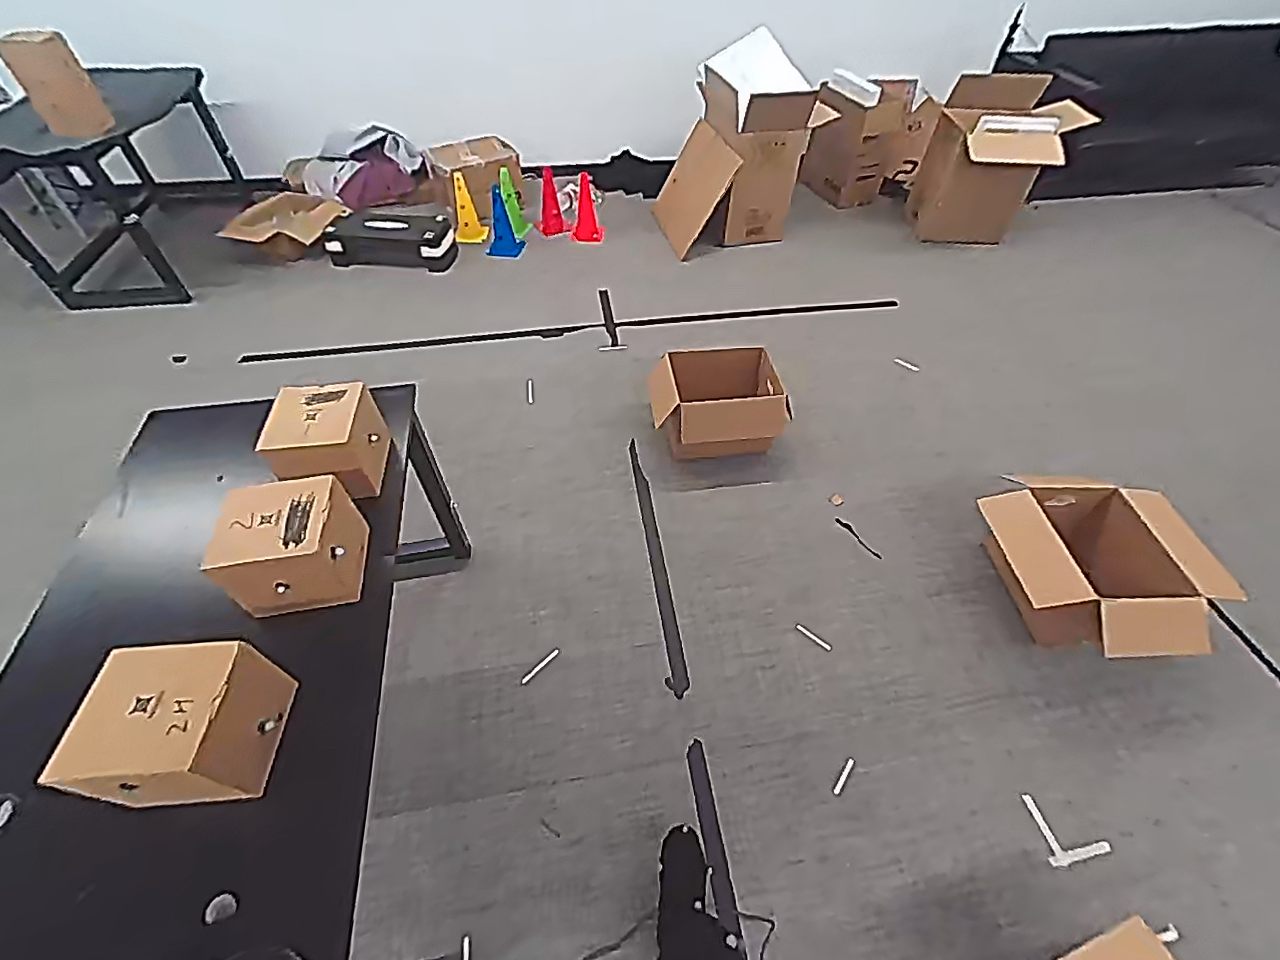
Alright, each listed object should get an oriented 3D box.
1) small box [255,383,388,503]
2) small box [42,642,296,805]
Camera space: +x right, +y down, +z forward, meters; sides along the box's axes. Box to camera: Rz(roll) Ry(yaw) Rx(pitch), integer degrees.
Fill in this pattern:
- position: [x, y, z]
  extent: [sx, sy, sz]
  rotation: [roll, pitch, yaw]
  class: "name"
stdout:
- position: [-0.634, -0.075, 1.104]
  extent: [0.168, 0.176, 0.179]
  rotation: [-6, 52, -5]
  class: "small box"
- position: [-0.630, 0.343, 0.756]
  extent: [0.179, 0.176, 0.168]
  rotation: [-3, 51, -3]
  class: "small box"
